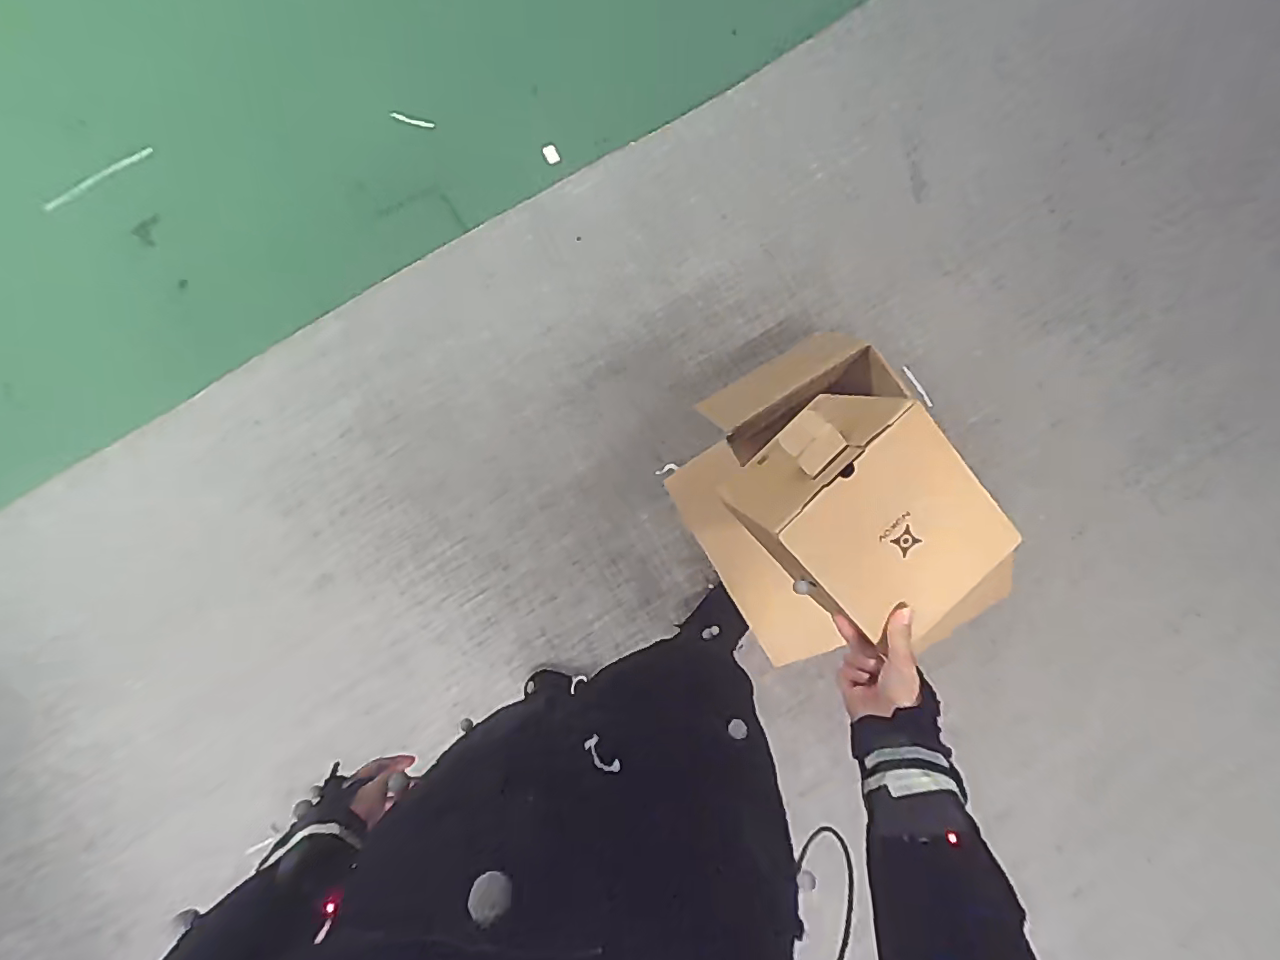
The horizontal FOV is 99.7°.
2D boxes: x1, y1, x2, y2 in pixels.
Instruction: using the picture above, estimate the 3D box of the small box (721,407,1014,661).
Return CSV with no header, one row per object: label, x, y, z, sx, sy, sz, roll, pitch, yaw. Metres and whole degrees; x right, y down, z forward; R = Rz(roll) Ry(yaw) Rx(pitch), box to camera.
small box,0.213,0.038,0.549,0.168,0.176,0.179,-44,102,0
